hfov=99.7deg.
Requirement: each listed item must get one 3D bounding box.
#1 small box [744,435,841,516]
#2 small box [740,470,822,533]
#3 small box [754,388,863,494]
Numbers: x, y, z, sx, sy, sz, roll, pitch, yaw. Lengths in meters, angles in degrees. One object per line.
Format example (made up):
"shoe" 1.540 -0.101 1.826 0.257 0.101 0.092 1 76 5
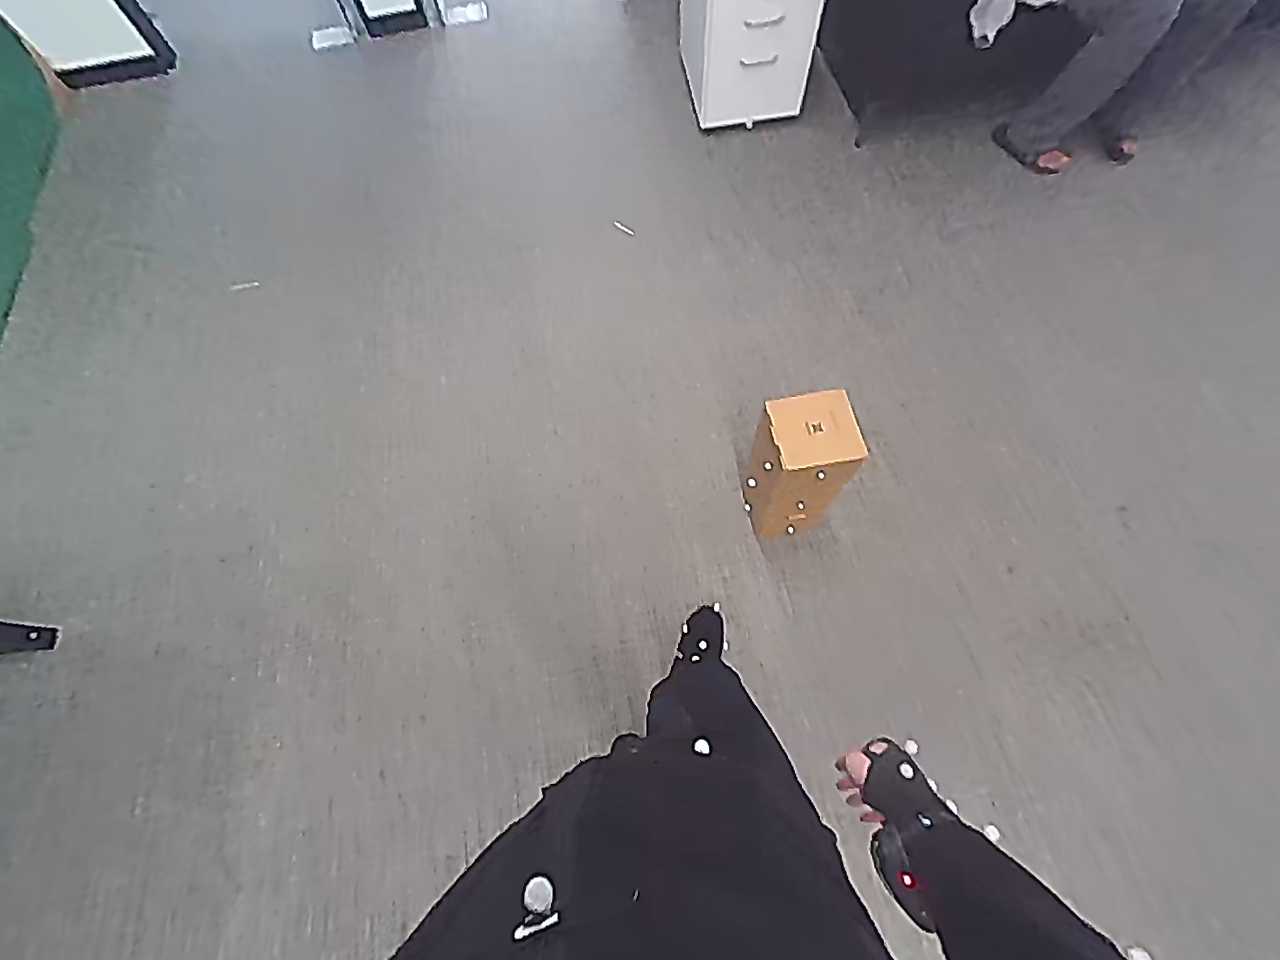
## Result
"small box" 0.371 -0.022 1.350 0.179 0.176 0.168 -10 67 -1
"small box" 0.384 0.039 1.502 0.168 0.176 0.179 -9 68 -2
"small box" 0.360 -0.080 1.199 0.179 0.176 0.168 -9 68 -3
